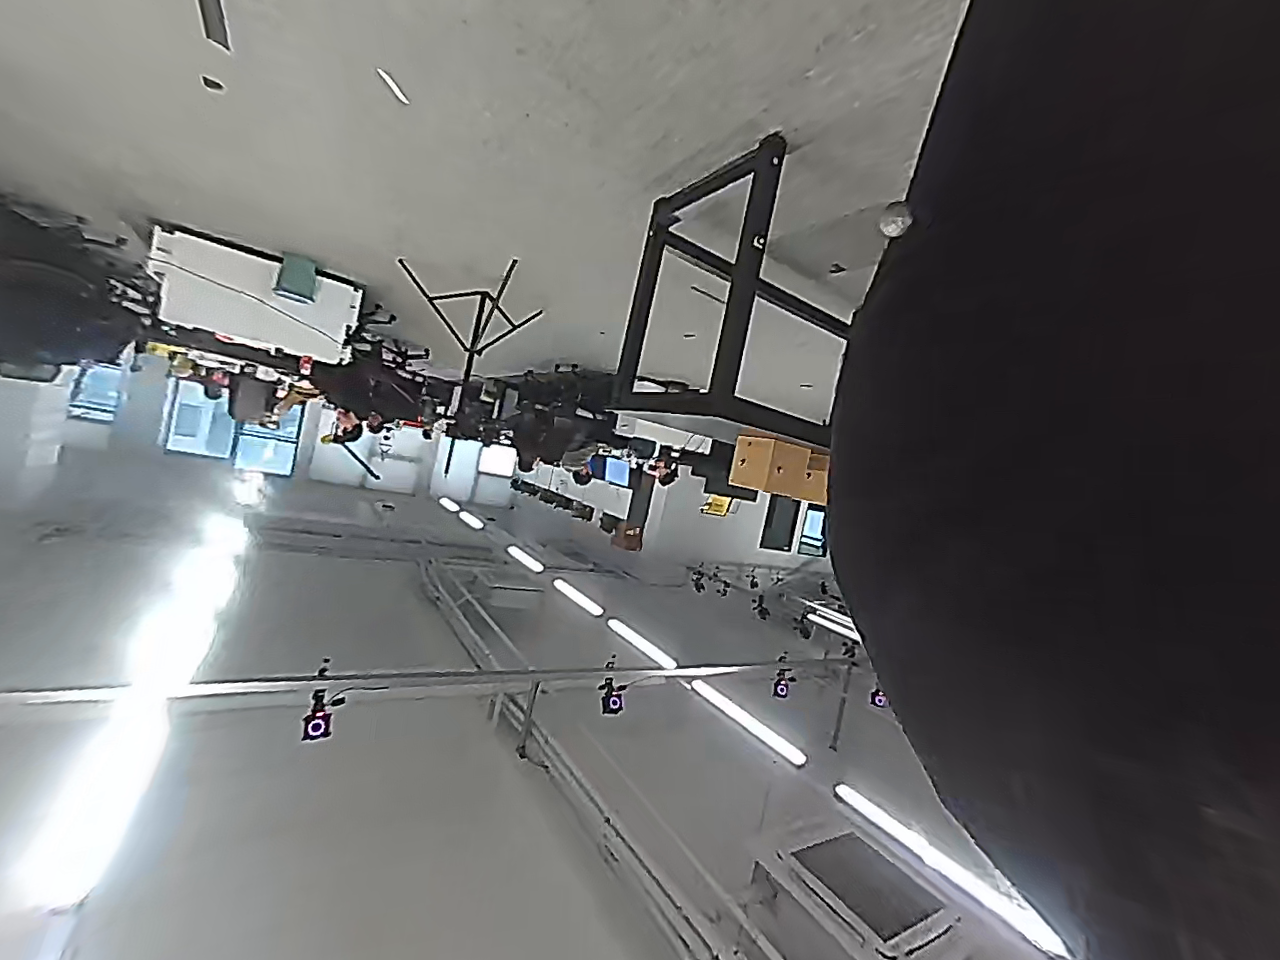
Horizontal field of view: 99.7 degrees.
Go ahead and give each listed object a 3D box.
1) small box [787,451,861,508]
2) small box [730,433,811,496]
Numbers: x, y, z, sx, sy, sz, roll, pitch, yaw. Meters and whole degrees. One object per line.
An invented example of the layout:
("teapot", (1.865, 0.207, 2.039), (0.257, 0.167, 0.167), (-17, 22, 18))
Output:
("small box", (0.647, -0.007, 1.902), (0.179, 0.176, 0.168), (11, -177, -34))
("small box", (0.424, -0.052, 1.749), (0.179, 0.176, 0.168), (9, -176, -33))
